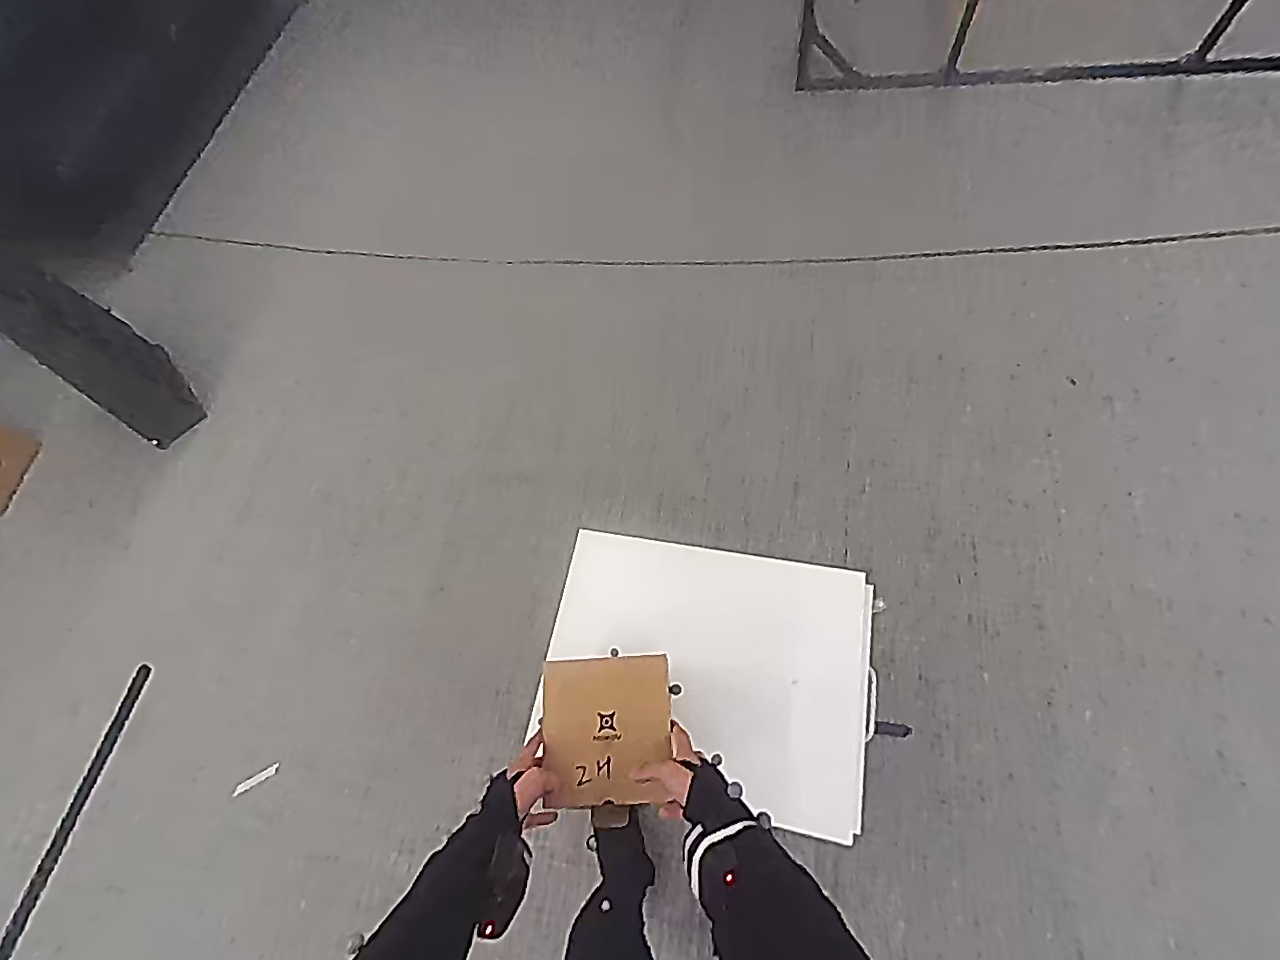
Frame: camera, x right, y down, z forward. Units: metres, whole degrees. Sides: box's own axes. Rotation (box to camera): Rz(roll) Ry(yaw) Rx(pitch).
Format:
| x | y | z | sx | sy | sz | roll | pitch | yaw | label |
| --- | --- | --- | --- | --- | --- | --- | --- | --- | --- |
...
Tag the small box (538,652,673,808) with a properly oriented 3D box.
| x | y | z | sx | sy | sz | roll | pitch | yaw | label |
| --- | --- | --- | --- | --- | --- | --- | --- | --- | --- |
| -0.041 | 0.338 | 0.754 | 0.168 | 0.176 | 0.179 | -4 | 71 | 3 | small box |
